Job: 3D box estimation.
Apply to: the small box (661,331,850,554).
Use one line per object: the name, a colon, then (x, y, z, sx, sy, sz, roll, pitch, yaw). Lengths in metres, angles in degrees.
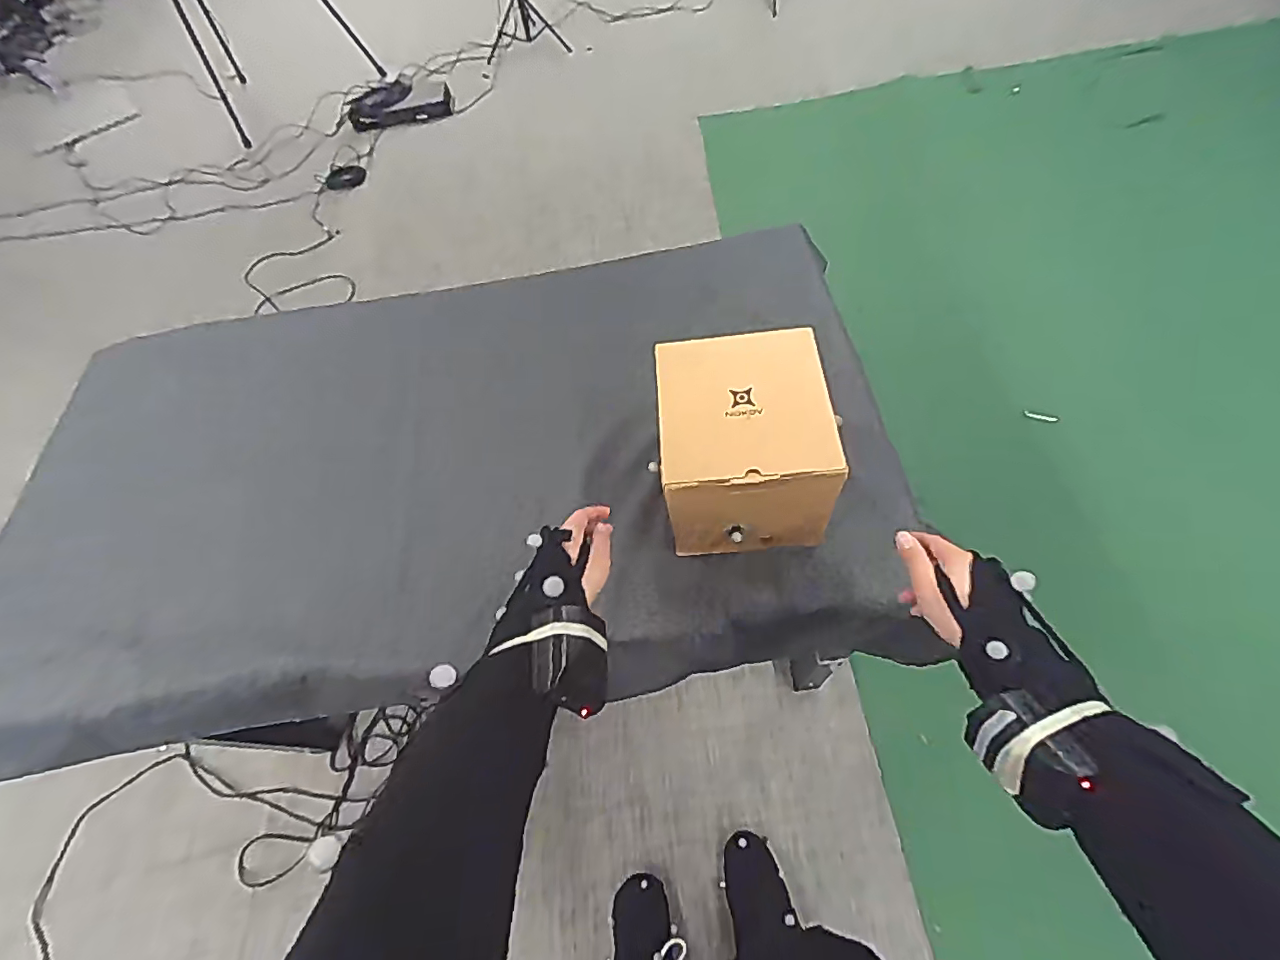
small box: (0.112, -0.035, 0.592, 0.168, 0.176, 0.179, -5, 59, 5)
